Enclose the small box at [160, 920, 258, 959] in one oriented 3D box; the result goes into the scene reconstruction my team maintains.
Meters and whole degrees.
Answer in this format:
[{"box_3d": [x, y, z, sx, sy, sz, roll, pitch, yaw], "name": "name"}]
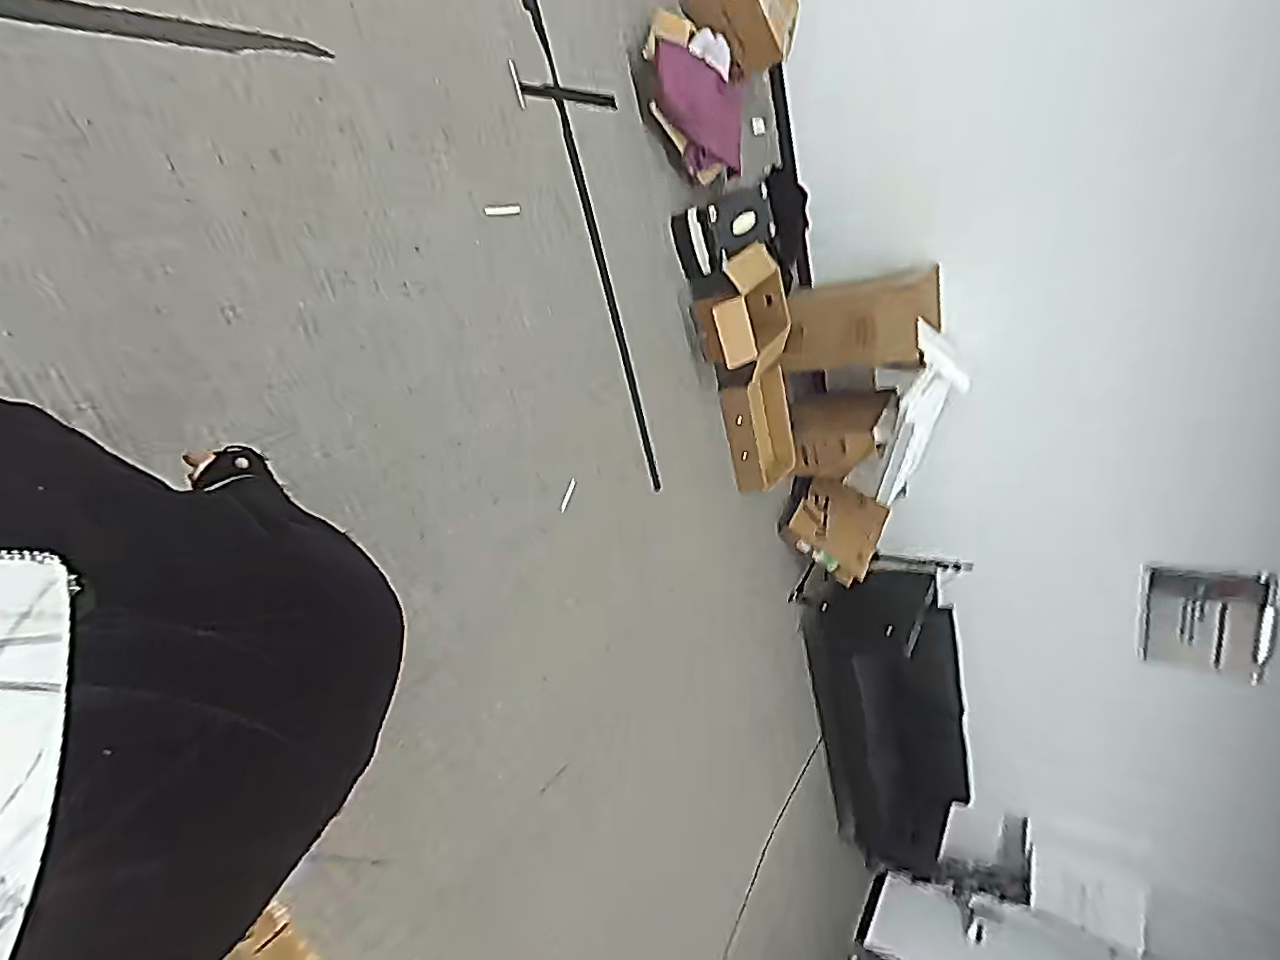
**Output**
[{"box_3d": [-0.544, 0.703, 0.663, 0.168, 0.176, 0.179, -34, 115, -44], "name": "small box"}]
